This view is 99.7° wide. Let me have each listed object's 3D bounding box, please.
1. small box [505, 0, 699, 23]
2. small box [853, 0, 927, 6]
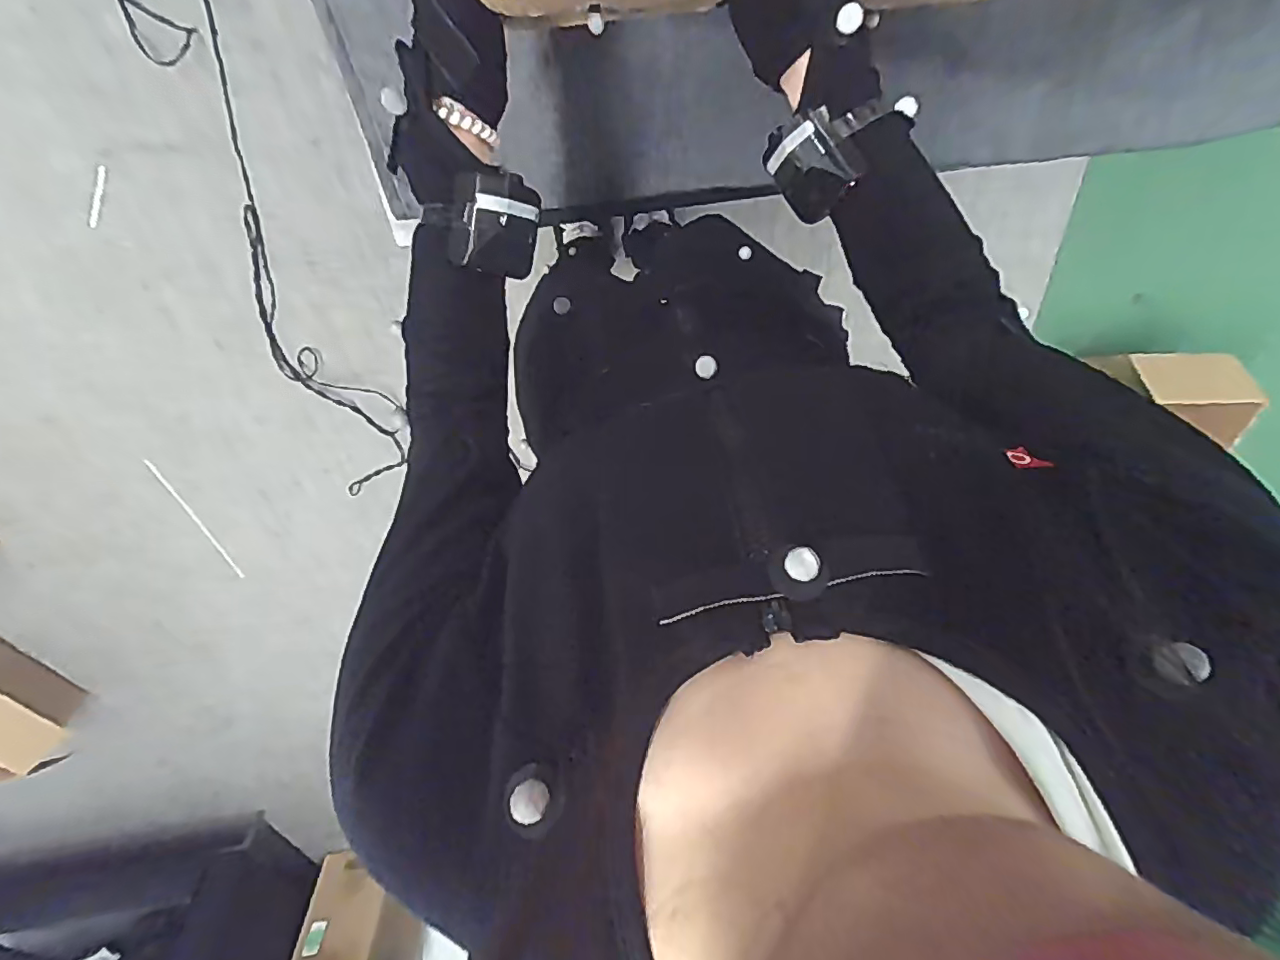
[{"bbox_3d":[-0.022,-0.391,0.308,0.168,0.176,0.179,-9,127,-2],"label":"small box"},{"bbox_3d":[0.257,-0.471,0.393,0.168,0.176,0.179,-7,125,-1],"label":"small box"}]
